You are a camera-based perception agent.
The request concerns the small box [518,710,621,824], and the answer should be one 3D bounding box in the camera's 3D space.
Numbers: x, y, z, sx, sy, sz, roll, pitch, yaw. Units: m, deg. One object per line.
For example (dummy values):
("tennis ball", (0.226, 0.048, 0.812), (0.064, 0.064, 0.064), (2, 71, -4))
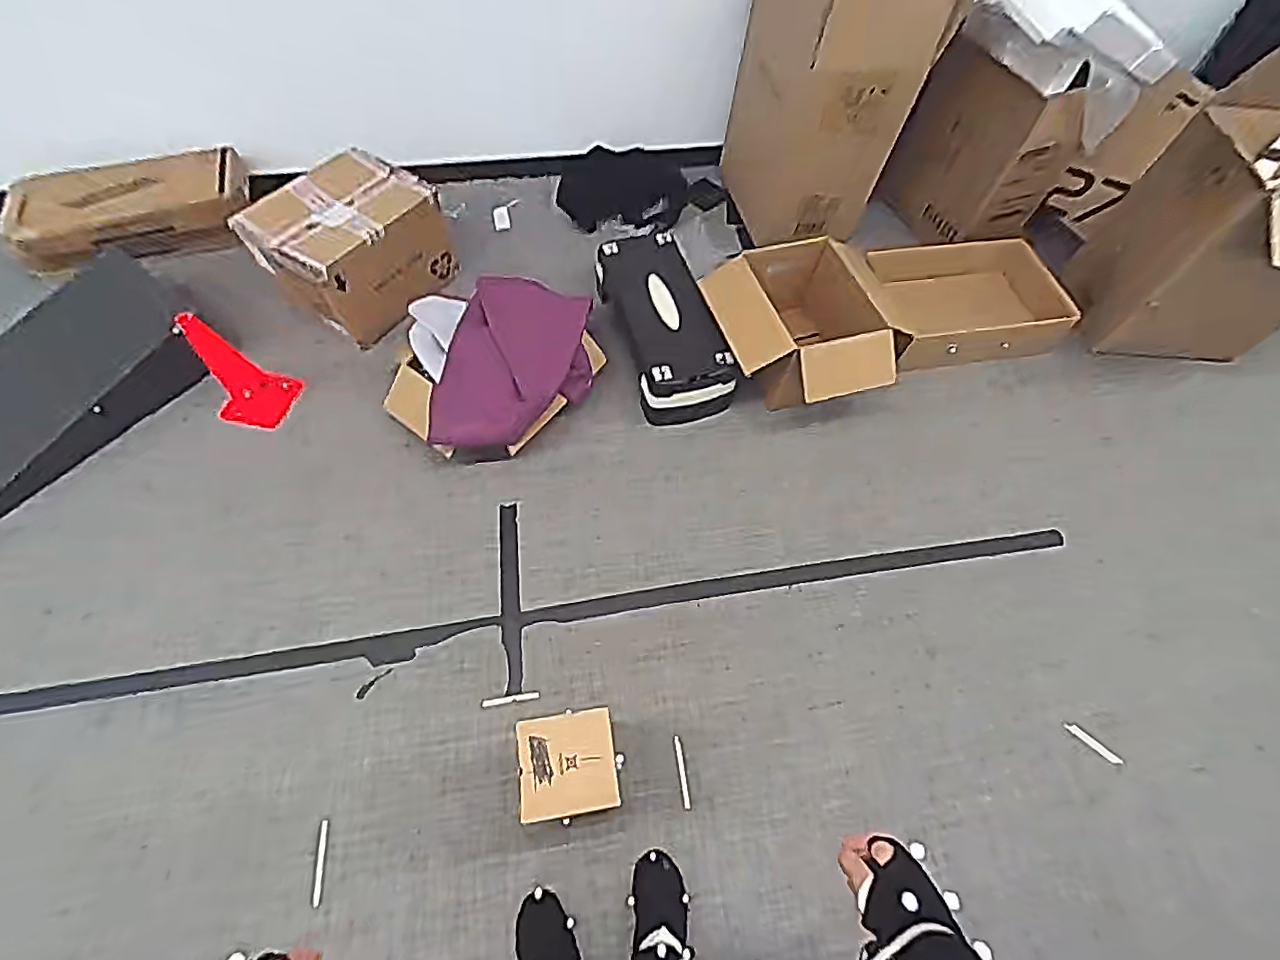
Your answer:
("small box", (-0.131, 0.554, 1.044), (0.179, 0.176, 0.168), (-7, 62, -7))
